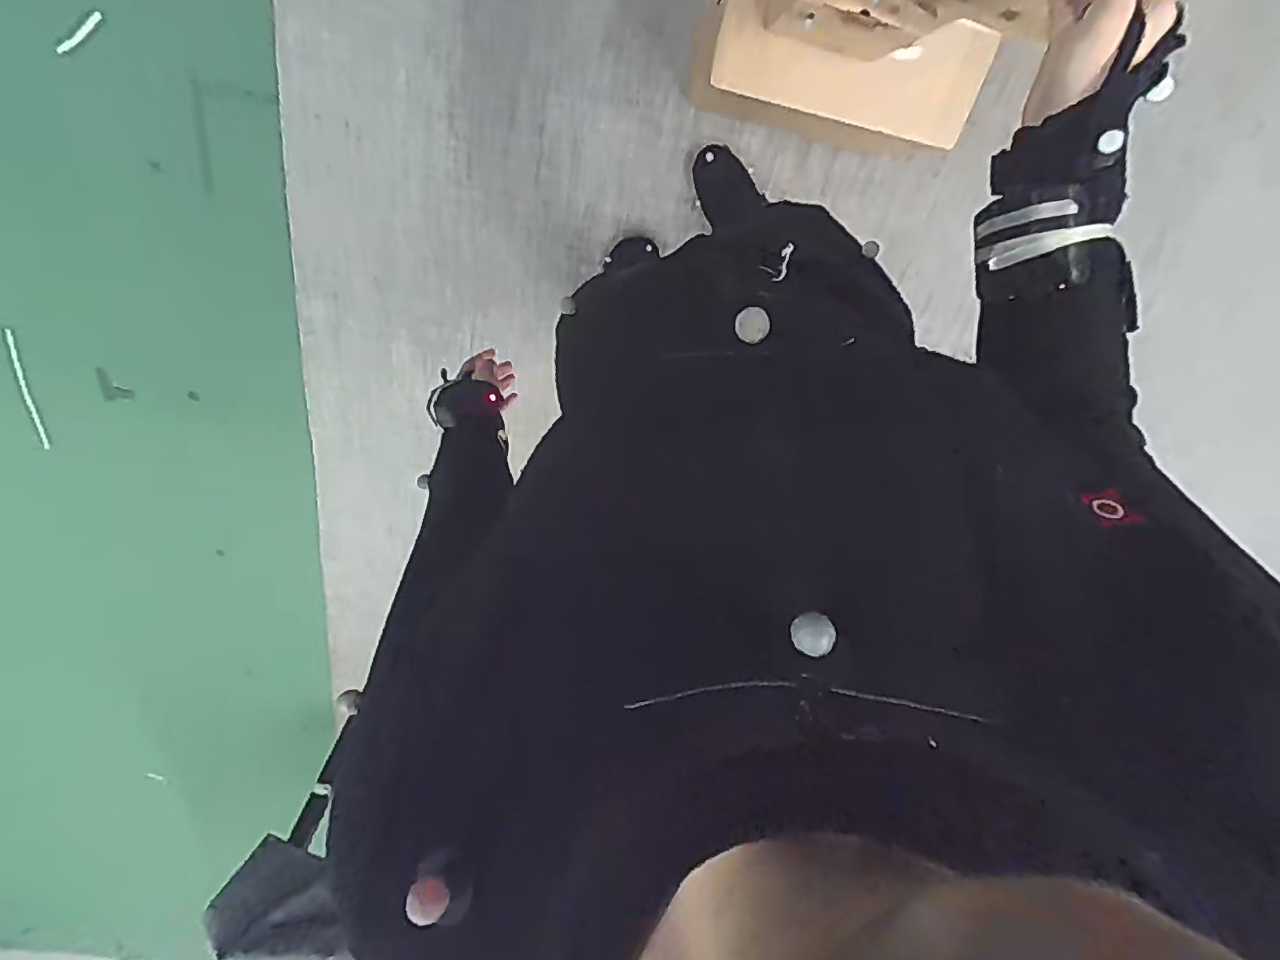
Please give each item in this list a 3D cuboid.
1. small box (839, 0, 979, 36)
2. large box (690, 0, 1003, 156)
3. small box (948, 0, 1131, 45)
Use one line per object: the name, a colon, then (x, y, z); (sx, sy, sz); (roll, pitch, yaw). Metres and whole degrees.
small box: (0.293, -0.573, 0.516); (0.168, 0.176, 0.179); (14, 118, -10)
large box: (0.322, -0.751, 0.884); (0.408, 0.320, 0.320); (9, 120, -8)
small box: (0.294, -0.427, 0.342); (0.168, 0.176, 0.179); (16, 109, -8)
